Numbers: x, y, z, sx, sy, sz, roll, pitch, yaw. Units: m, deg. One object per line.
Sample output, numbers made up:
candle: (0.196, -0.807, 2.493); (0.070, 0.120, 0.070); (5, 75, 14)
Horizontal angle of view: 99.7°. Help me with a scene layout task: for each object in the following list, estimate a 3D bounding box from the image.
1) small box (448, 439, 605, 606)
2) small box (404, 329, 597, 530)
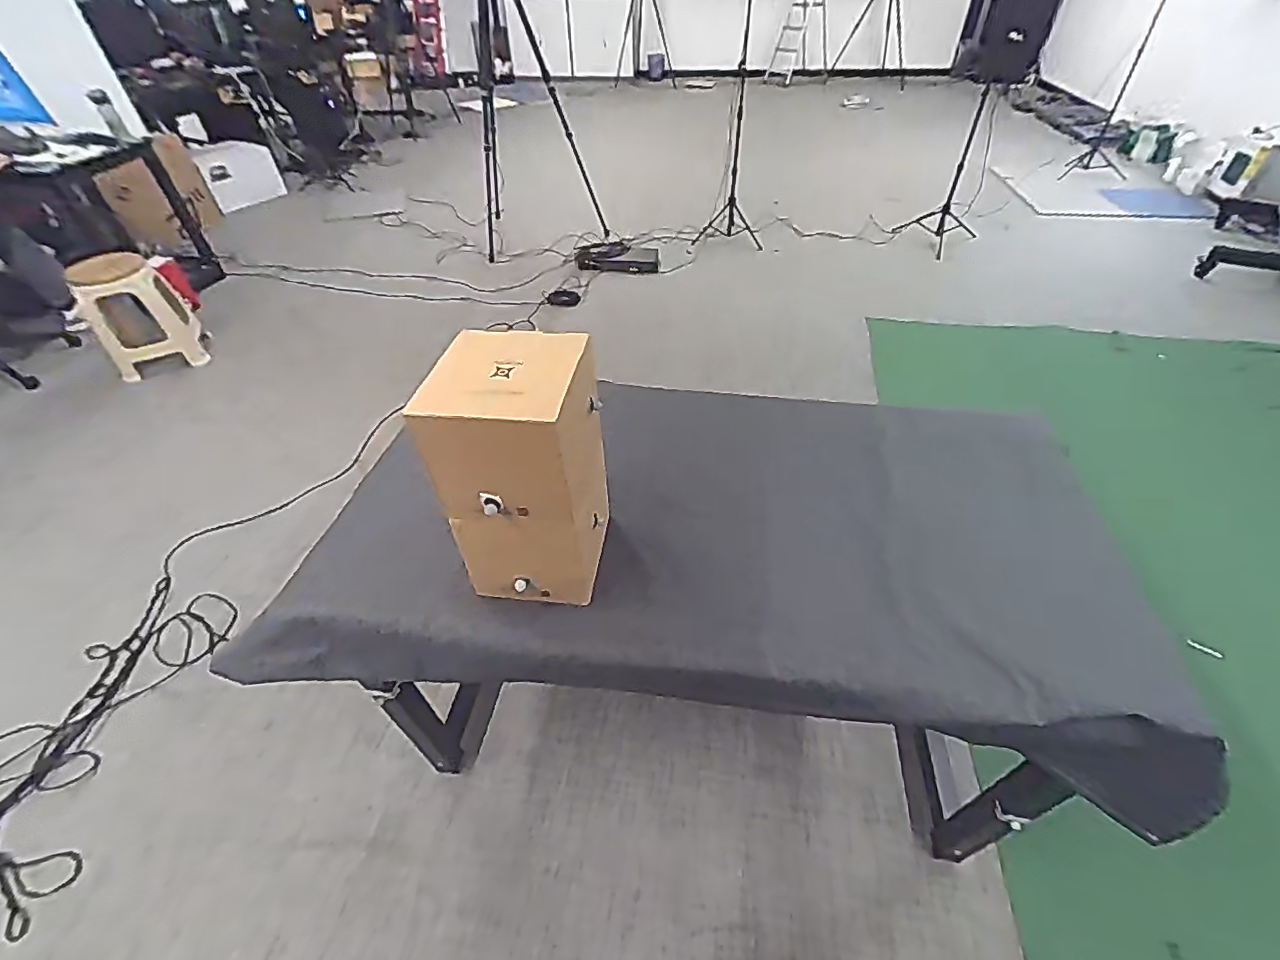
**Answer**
small box: (-0.144, 0.053, 0.766); (0.168, 0.176, 0.179); (4, 45, 6)
small box: (-0.148, -0.063, 0.653); (0.168, 0.176, 0.179); (3, 45, 6)
